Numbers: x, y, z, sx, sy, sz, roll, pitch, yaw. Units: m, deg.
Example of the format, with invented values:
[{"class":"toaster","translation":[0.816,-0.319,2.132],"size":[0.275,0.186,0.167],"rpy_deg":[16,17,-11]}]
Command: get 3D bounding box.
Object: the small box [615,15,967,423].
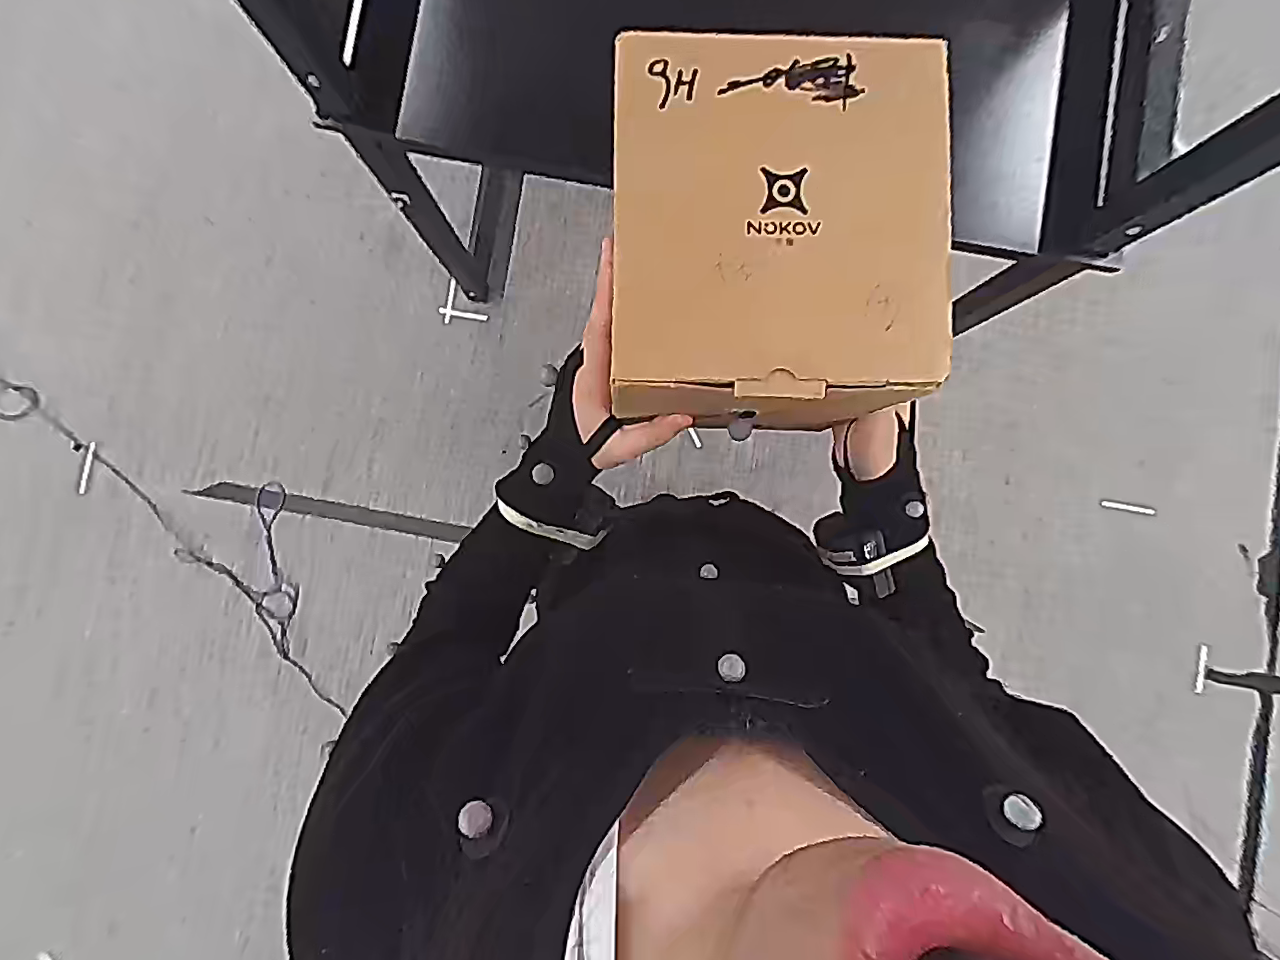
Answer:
[{"class":"small box","translation":[0.070,-0.130,0.336],"size":[0.168,0.176,0.179],"rpy_deg":[1,89,-3]}]
